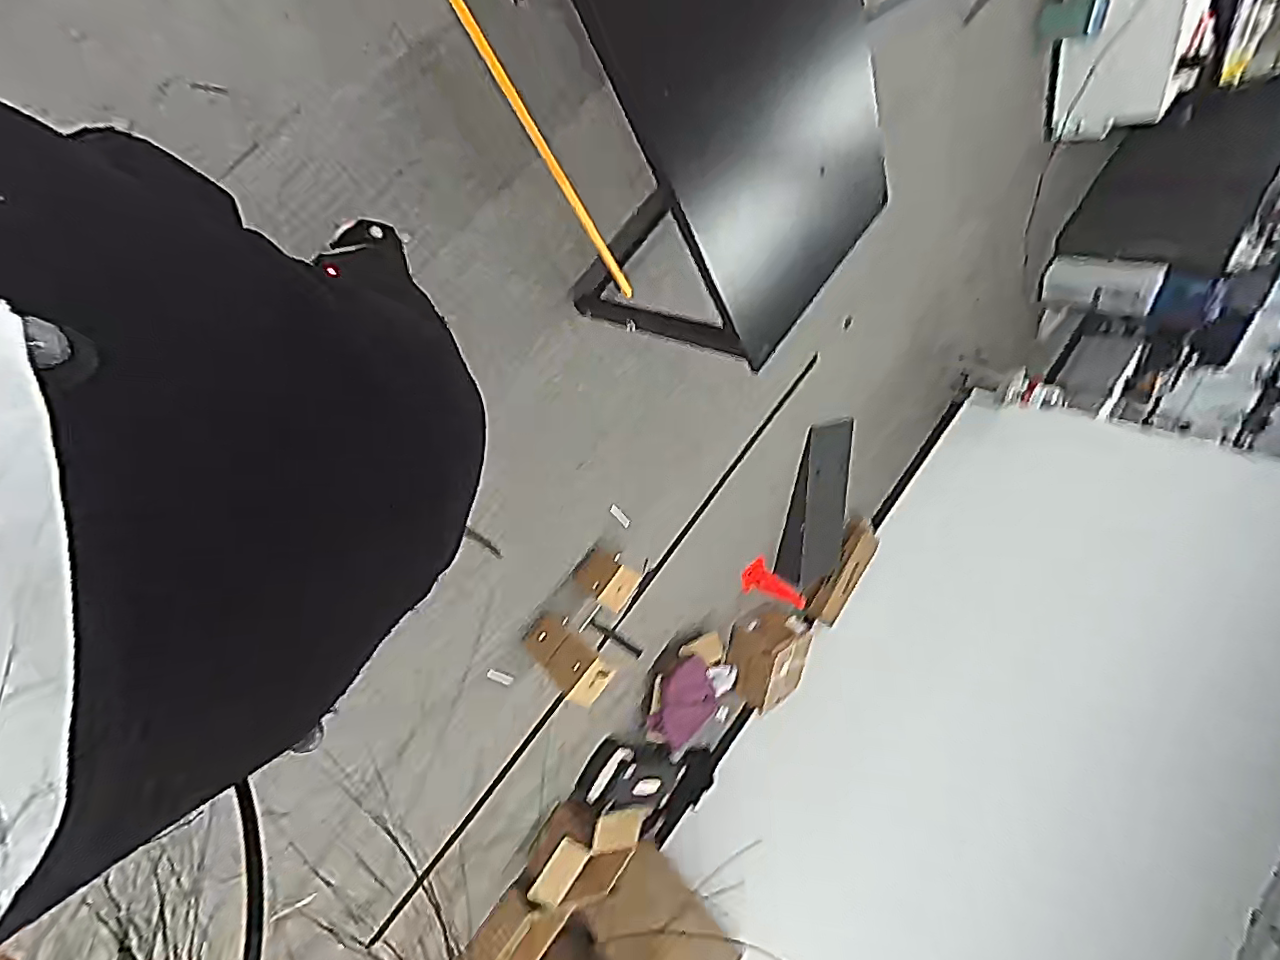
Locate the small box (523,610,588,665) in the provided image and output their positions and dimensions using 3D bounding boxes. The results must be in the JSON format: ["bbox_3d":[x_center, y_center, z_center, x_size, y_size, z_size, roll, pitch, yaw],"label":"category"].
[{"bbox_3d":[-0.338,0.650,2.183,0.168,0.176,0.179,-50,137,-11],"label":"small box"}]

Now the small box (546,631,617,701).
[{"bbox_3d":[-0.227,0.709,2.075,0.179,0.176,0.168,-51,138,-9],"label":"small box"}]

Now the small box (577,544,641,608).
[{"bbox_3d":[-0.137,0.394,2.232,0.179,0.176,0.168,-54,139,-8],"label":"small box"}]
